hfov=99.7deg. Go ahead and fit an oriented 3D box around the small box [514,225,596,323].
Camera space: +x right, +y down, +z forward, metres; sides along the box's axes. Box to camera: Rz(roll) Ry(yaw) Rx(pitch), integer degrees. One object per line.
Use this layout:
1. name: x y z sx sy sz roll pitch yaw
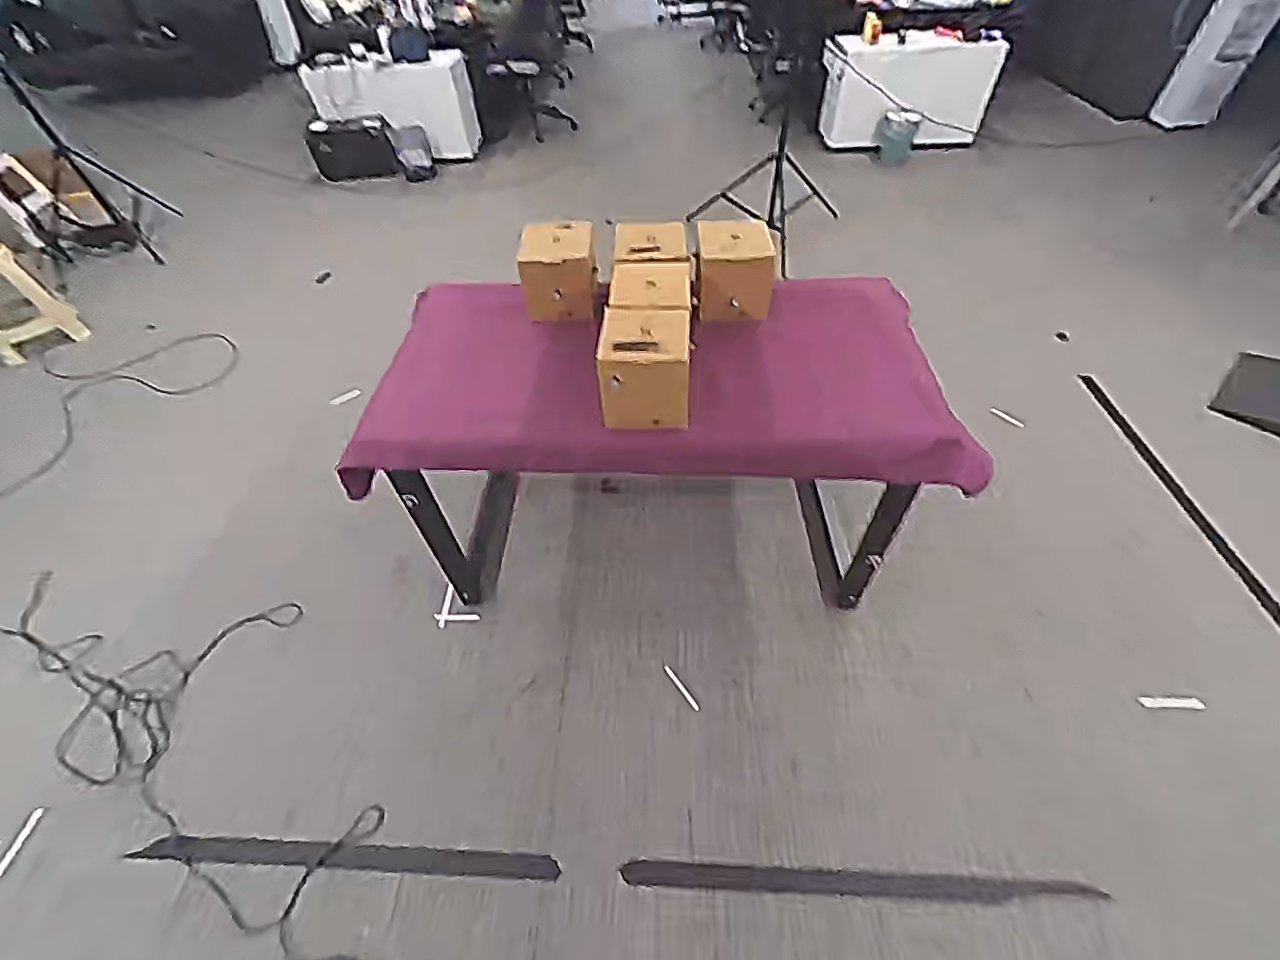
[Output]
1. small box: -0.202 -0.506 1.340 0.168 0.176 0.179 -1 52 2
